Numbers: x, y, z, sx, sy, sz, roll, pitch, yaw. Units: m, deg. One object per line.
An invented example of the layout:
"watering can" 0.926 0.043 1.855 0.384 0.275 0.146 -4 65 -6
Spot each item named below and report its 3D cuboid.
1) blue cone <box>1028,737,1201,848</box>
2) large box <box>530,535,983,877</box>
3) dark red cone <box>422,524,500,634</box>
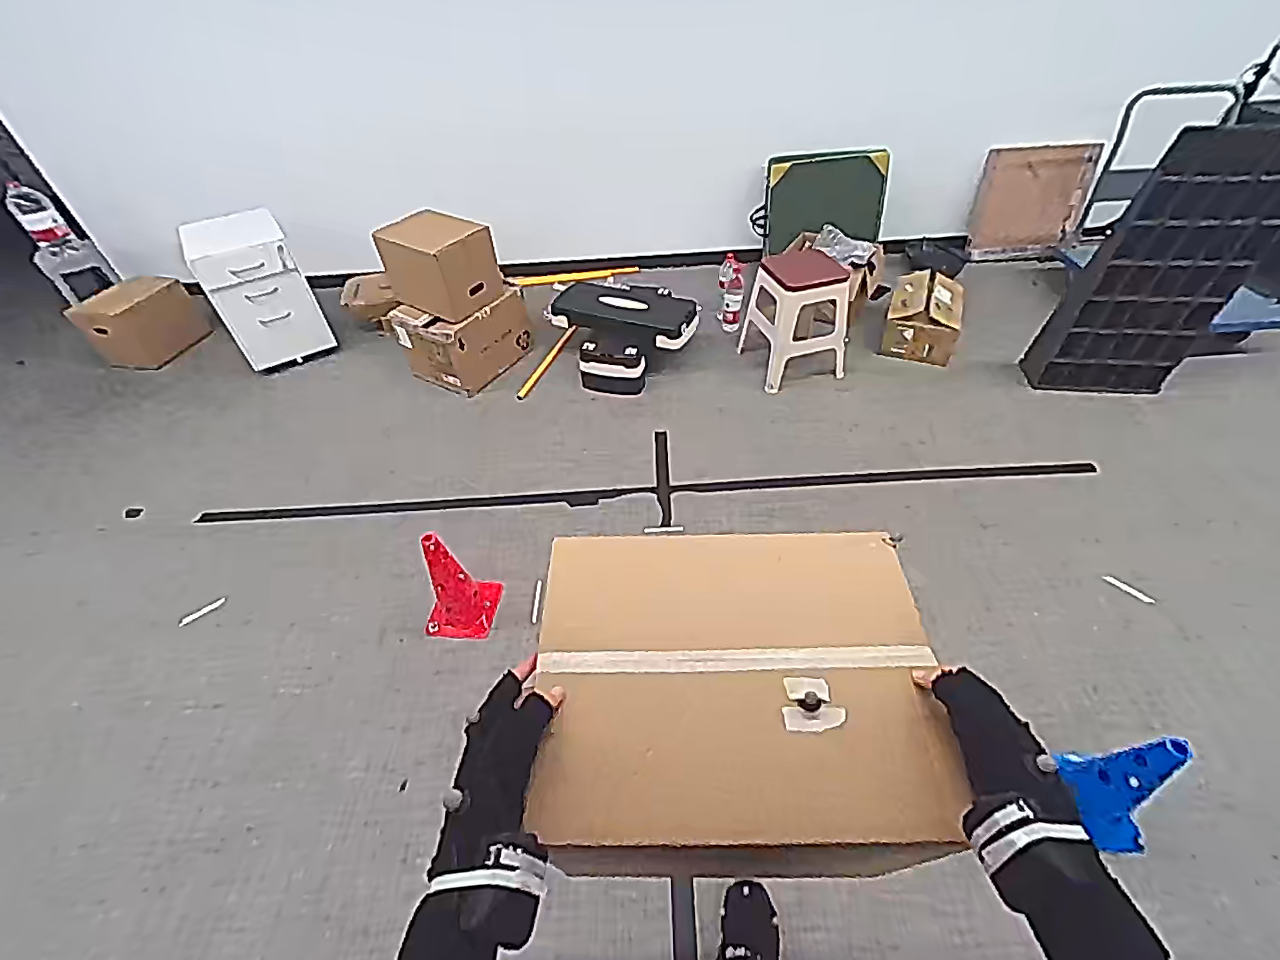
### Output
"blue cone" 1.023 0.629 1.141 0.192 0.380 0.193 0 46 3
"large box" 0.100 0.285 0.675 0.408 0.320 0.320 -1 50 1
"dark red cone" -0.553 0.270 1.562 0.201 0.394 0.202 2 46 5
